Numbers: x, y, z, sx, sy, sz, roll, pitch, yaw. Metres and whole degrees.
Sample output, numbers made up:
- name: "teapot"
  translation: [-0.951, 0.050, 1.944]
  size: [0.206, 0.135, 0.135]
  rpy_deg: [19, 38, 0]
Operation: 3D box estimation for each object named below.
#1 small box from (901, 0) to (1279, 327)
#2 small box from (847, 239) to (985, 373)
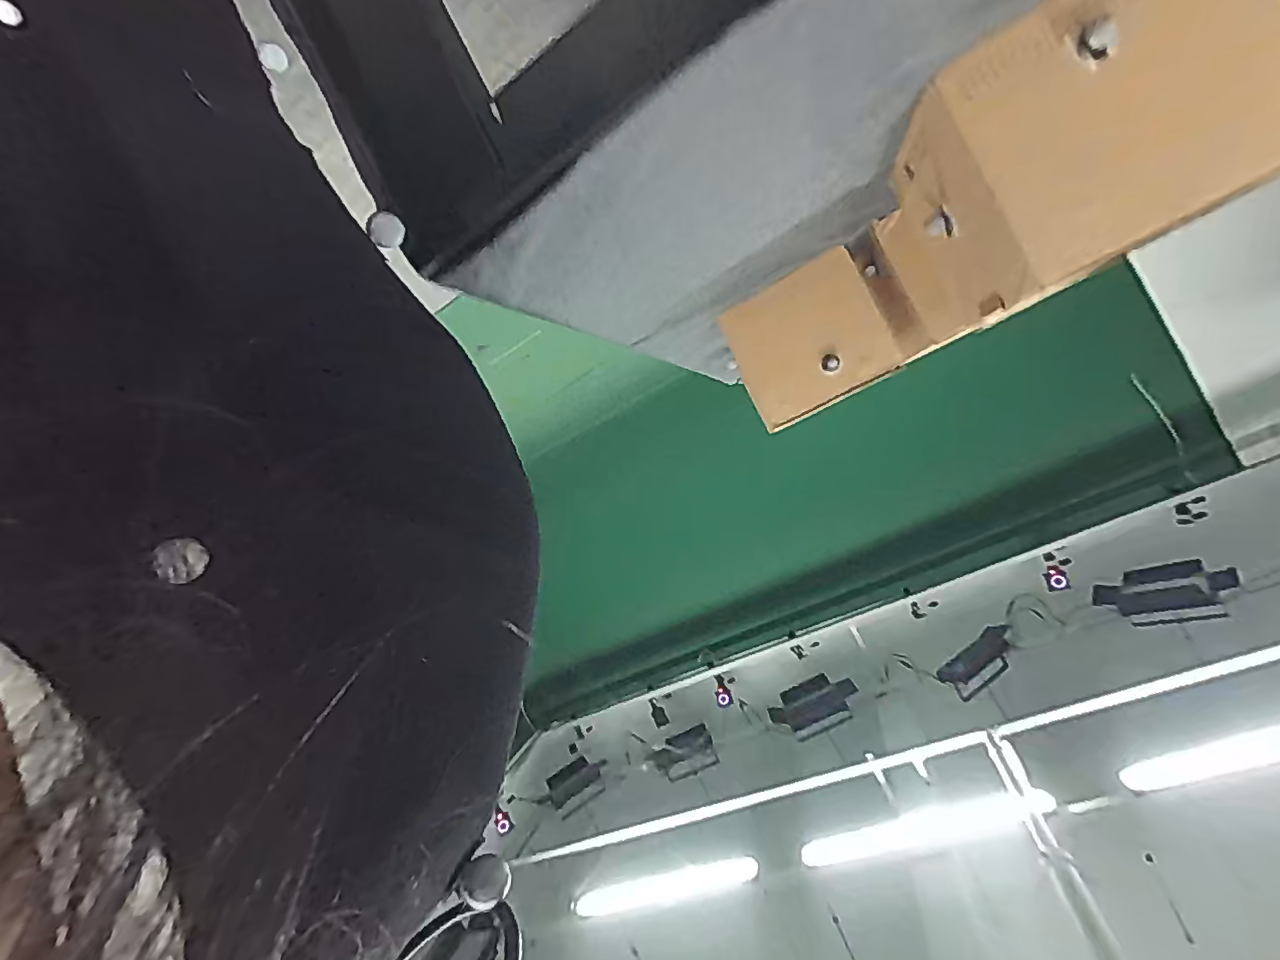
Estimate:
- name: "small box"
  translation: [0.326, -0.244, 0.407]
  size: [0.179, 0.176, 0.168]
  rpy_deg: [-27, 179, 17]
- name: "small box"
  translation: [0.492, -0.312, 0.982]
  size: [0.168, 0.176, 0.179]
  rpy_deg: [-27, 177, 19]
